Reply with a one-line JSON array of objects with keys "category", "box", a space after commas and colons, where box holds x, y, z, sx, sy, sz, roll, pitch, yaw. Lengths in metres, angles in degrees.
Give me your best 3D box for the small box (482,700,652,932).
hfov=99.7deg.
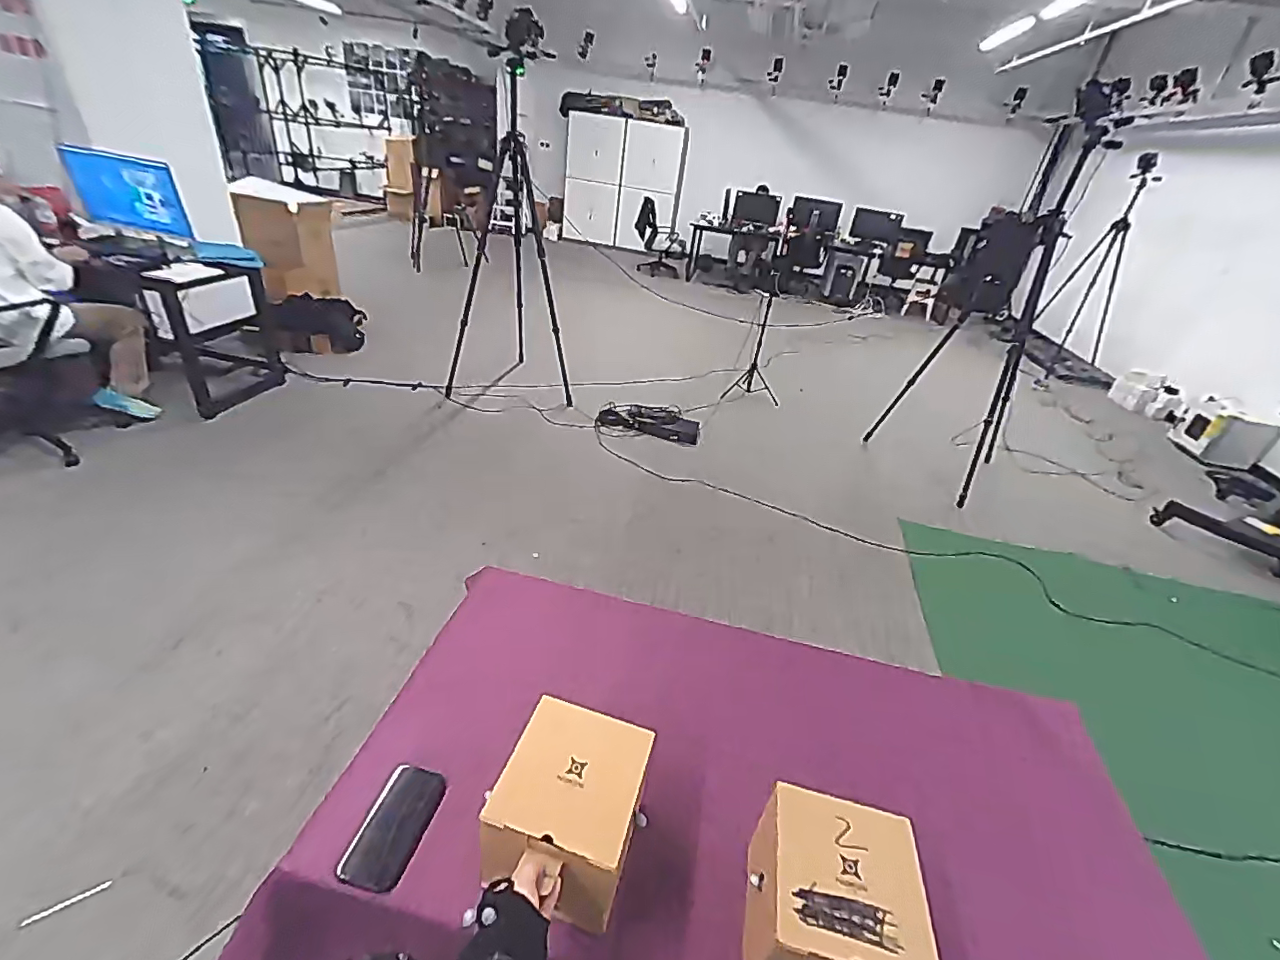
[{"category": "small box", "box": [-0.094, 0.436, 0.713, 0.168, 0.176, 0.179, 15, 32, 10]}]
